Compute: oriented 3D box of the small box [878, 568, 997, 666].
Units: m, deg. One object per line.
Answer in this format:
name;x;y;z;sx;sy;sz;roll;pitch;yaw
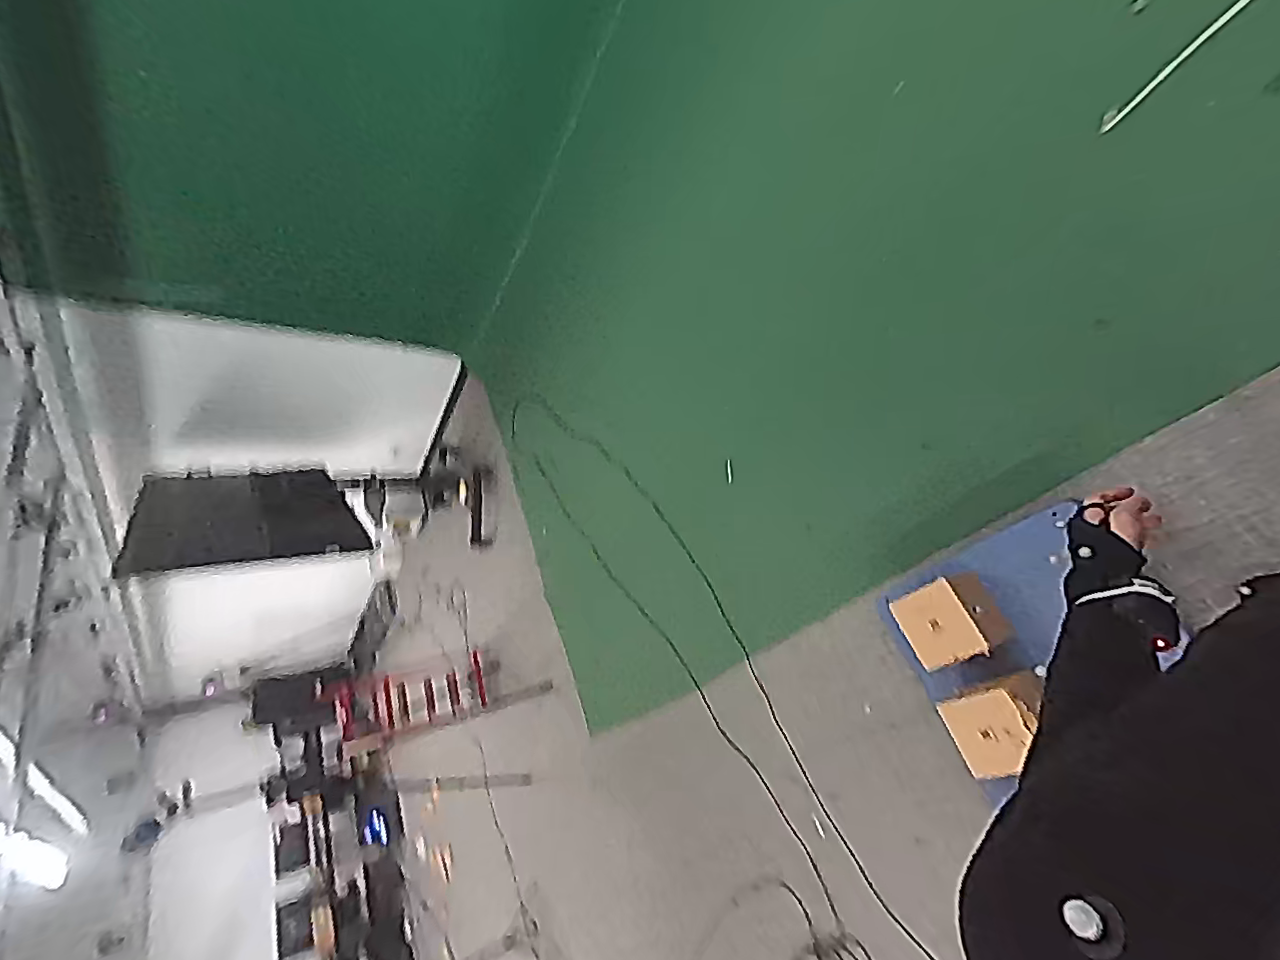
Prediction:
small box;0.743;0.336;1.348;0.168;0.176;0.179;-45;58;40
